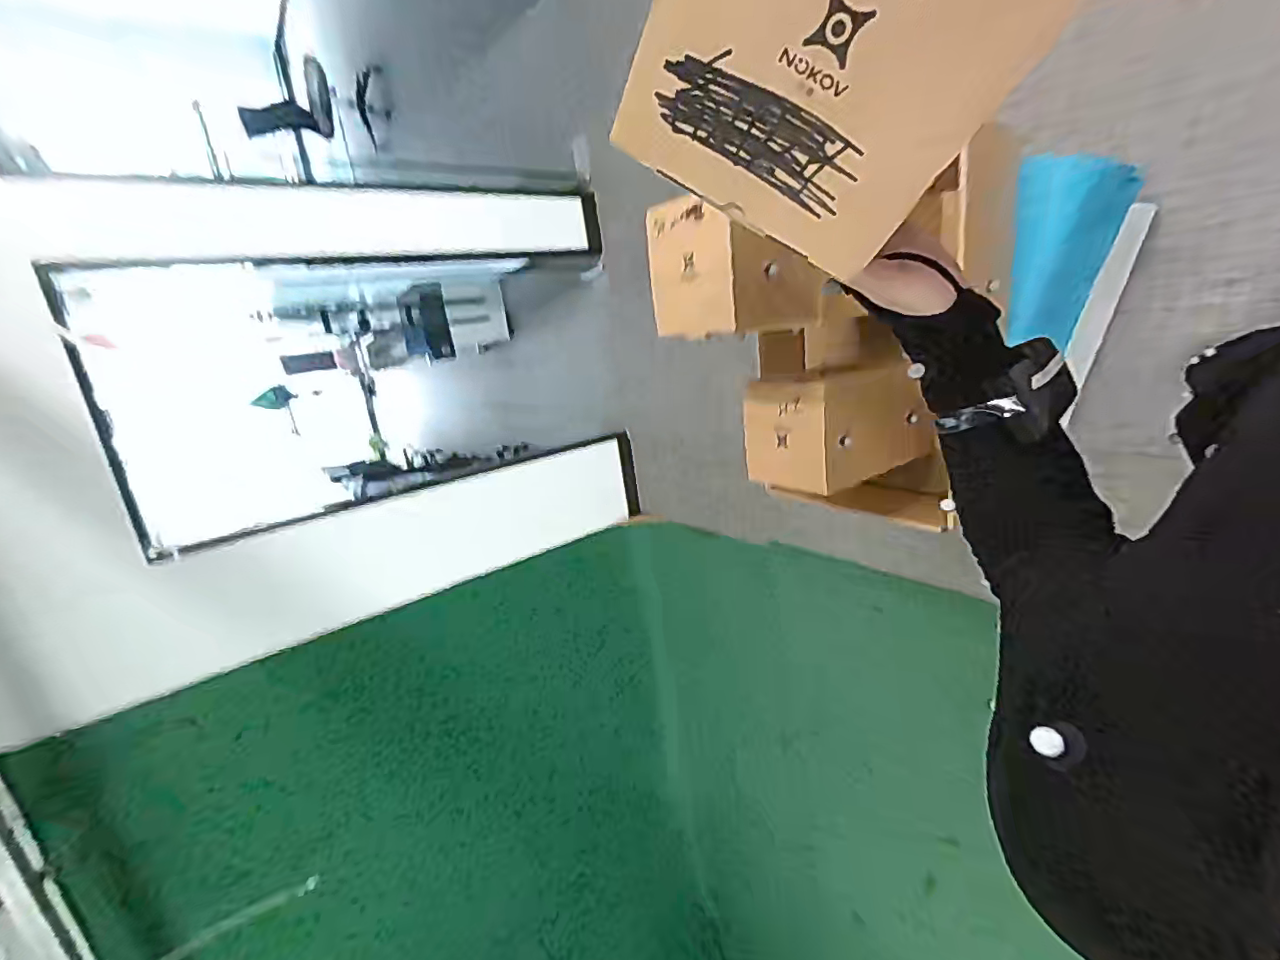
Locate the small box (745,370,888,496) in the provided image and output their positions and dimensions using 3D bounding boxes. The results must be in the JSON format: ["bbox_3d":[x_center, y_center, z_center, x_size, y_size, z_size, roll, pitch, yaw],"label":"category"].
[{"bbox_3d":[0.300,-0.088,0.917,0.168,0.176,0.179,14,115,53],"label":"small box"}]

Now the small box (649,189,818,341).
[{"bbox_3d":[0.136,-0.300,0.767,0.168,0.176,0.179,16,119,52],"label":"small box"}]
